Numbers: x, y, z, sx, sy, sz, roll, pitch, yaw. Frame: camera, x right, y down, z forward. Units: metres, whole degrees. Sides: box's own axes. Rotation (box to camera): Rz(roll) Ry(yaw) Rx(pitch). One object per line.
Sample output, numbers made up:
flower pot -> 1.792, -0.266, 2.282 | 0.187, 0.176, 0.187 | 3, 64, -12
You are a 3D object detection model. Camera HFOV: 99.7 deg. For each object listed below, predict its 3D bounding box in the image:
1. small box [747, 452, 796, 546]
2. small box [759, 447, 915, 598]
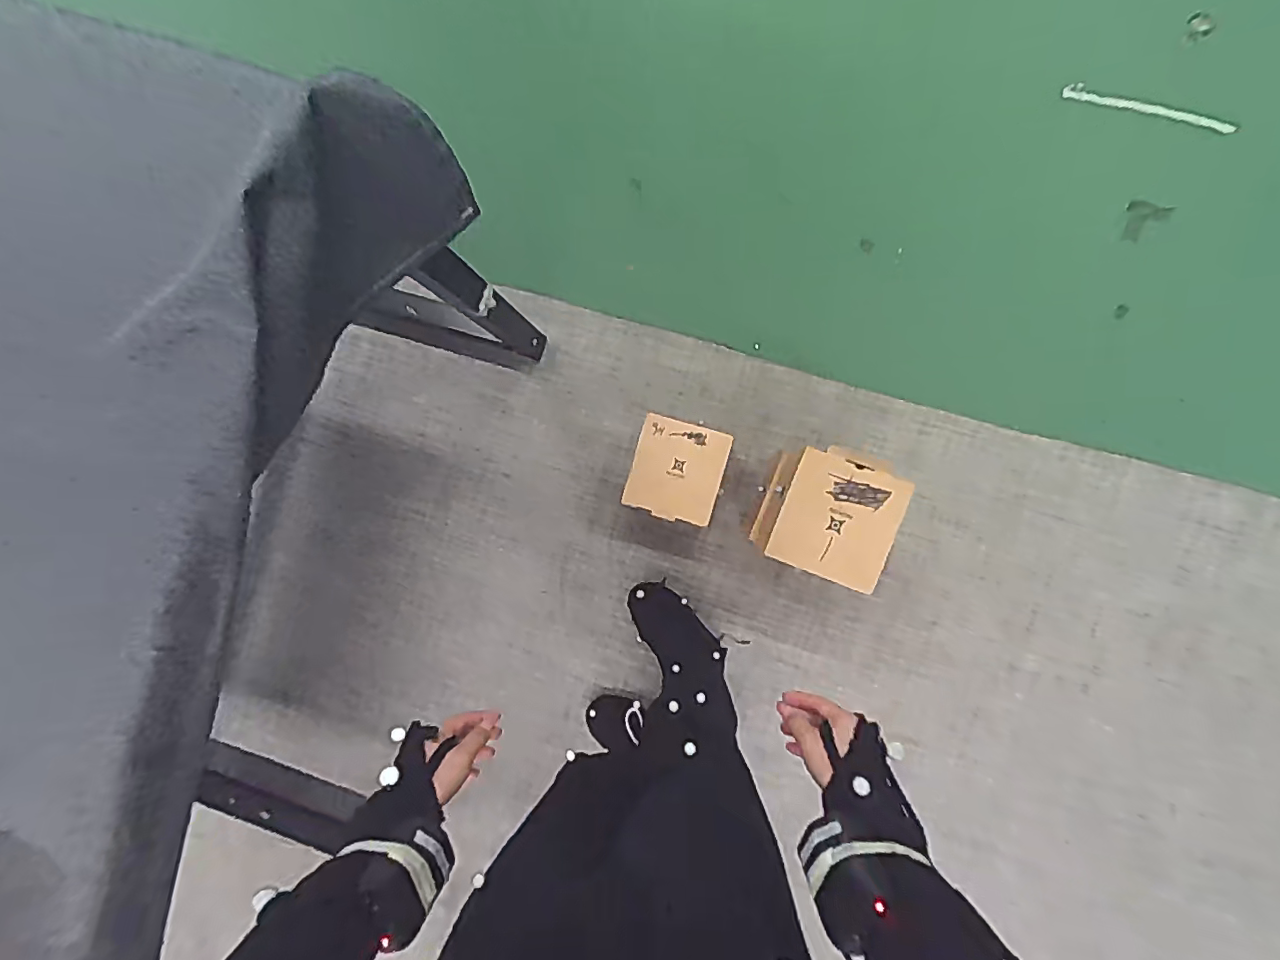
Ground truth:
small box -> 0.311, 0.060, 1.027 | 0.168, 0.176, 0.179 | 21, 93, 7
small box -> 0.299, 0.061, 0.863 | 0.168, 0.176, 0.179 | 21, 92, 7
